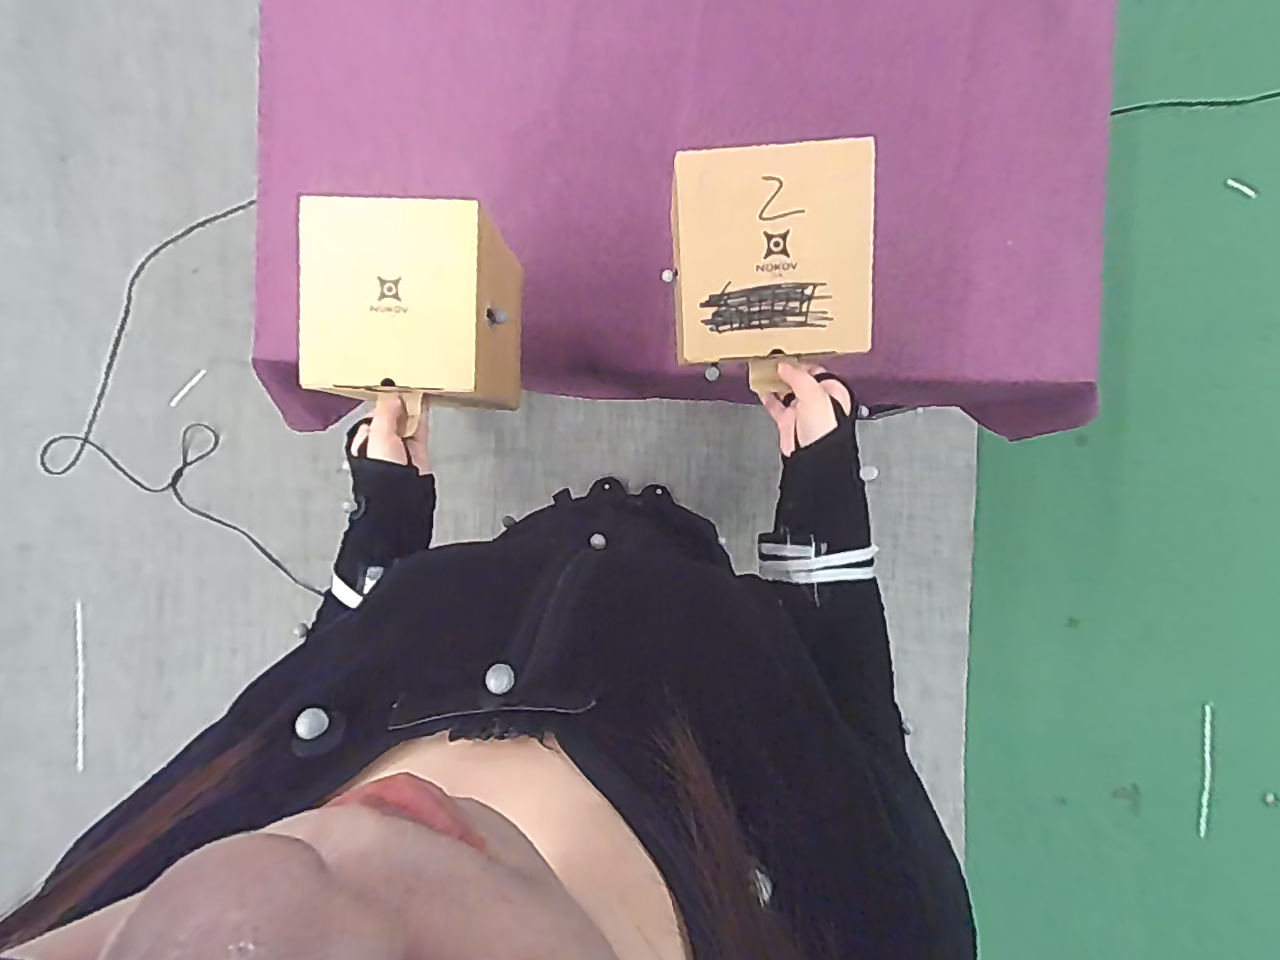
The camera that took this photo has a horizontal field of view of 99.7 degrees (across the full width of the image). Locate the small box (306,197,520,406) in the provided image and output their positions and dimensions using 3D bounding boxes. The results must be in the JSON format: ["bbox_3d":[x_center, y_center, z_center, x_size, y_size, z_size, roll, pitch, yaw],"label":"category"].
[{"bbox_3d":[-0.232,-0.180,0.591,0.168,0.176,0.179,2,93,1],"label":"small box"}]
